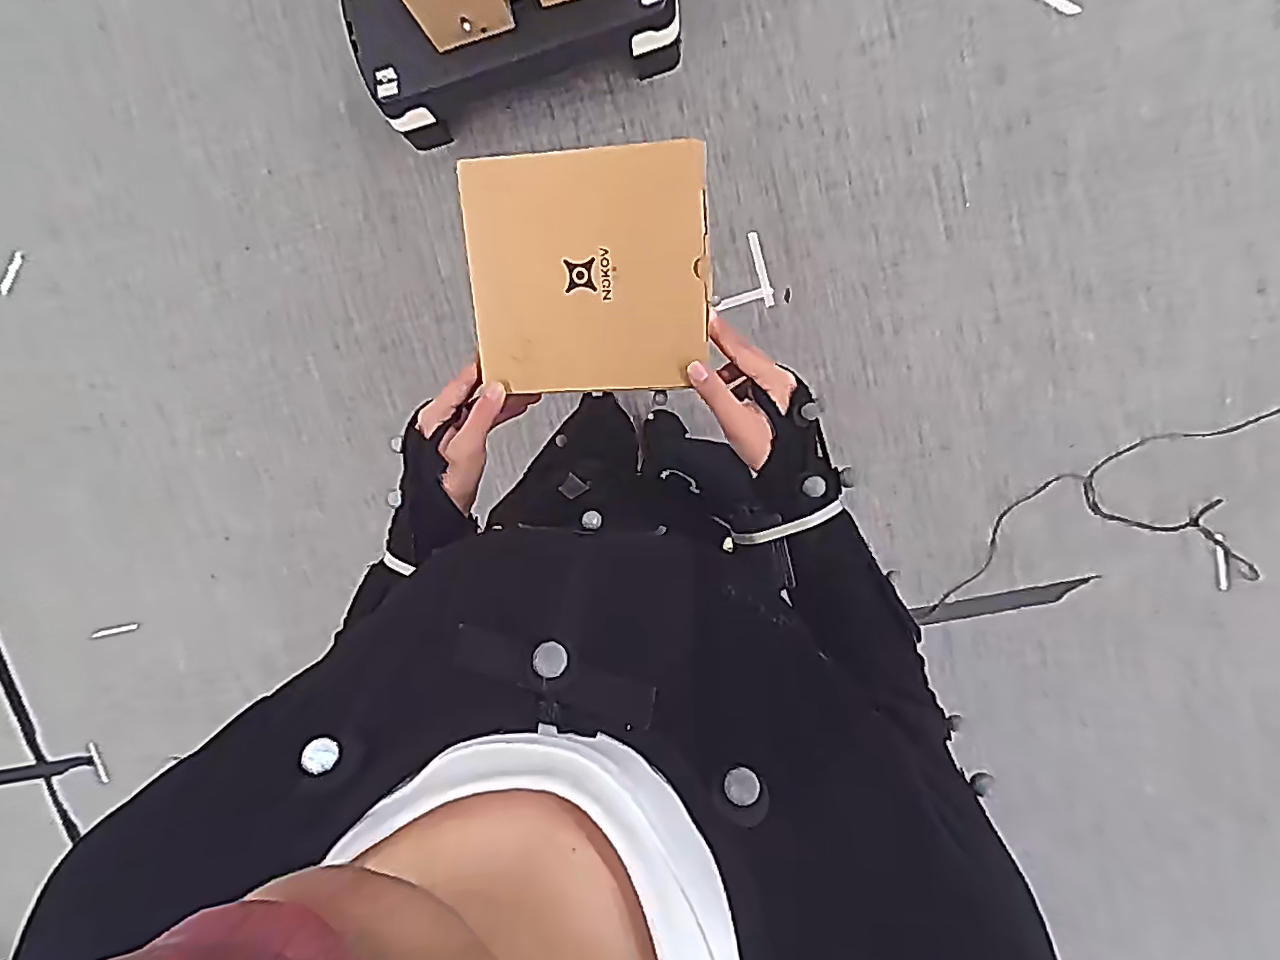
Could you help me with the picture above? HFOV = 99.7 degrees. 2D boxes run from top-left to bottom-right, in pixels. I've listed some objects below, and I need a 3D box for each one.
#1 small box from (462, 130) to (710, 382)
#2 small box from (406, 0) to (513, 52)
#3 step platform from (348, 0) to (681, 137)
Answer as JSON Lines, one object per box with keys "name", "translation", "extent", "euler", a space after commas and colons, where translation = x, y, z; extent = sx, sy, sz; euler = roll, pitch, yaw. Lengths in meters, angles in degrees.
{"name": "small box", "translation": [-0.029, -0.172, 0.466], "extent": [0.179, 0.176, 0.168], "euler": [-2, 104, 5]}
{"name": "small box", "translation": [-0.352, -0.948, 0.993], "extent": [0.168, 0.176, 0.179], "euler": [-12, 97, 7]}
{"name": "step platform", "translation": [-0.260, -1.008, 1.152], "extent": [0.684, 0.204, 0.286], "euler": [-13, 96, 8]}
